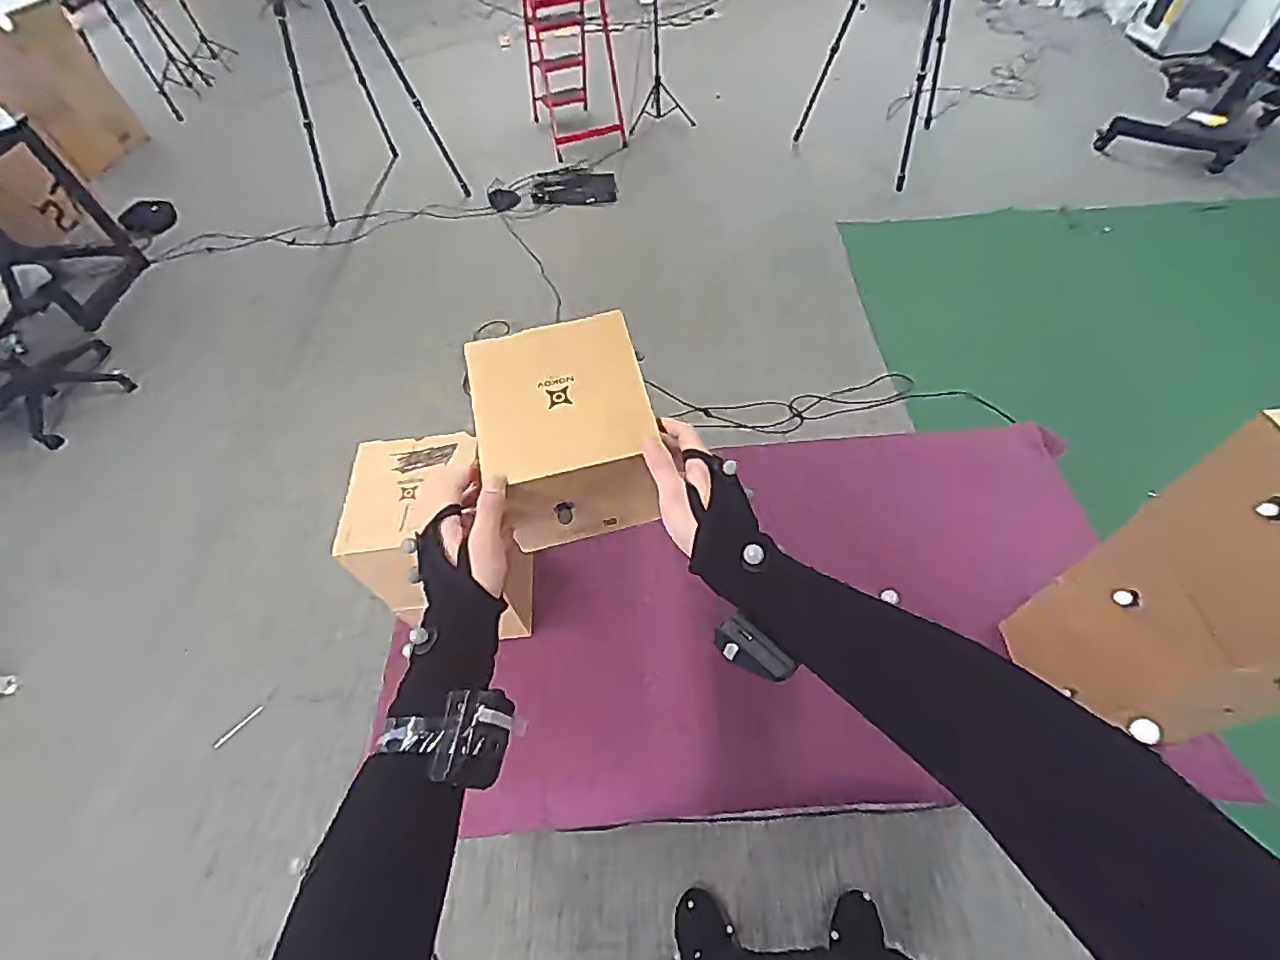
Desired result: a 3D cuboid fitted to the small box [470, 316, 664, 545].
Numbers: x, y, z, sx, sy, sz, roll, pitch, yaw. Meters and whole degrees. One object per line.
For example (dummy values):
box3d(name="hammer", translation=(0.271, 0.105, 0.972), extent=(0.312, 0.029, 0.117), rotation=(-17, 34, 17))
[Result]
box3d(name="small box", translation=(-0.071, -0.041, 0.588), extent=(0.168, 0.176, 0.179), rotation=(-13, 63, -5))

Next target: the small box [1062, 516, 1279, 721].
box3d(name="small box", translation=(0.631, 0.156, 0.608), extent=(0.168, 0.176, 0.179), rotation=(-2, 53, 5))

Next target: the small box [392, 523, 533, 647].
box3d(name="small box", translation=(-0.276, 0.156, 0.884), extent=(0.168, 0.176, 0.179), rotation=(-6, 55, 0))

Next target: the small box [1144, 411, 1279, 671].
box3d(name="small box", translation=(0.618, 0.056, 0.478), extent=(0.168, 0.176, 0.179), rotation=(-2, 54, 4))

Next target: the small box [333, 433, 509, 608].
box3d(name="small box", translation=(-0.286, 0.060, 0.752), extent=(0.168, 0.176, 0.179), rotation=(-7, 55, 0))
